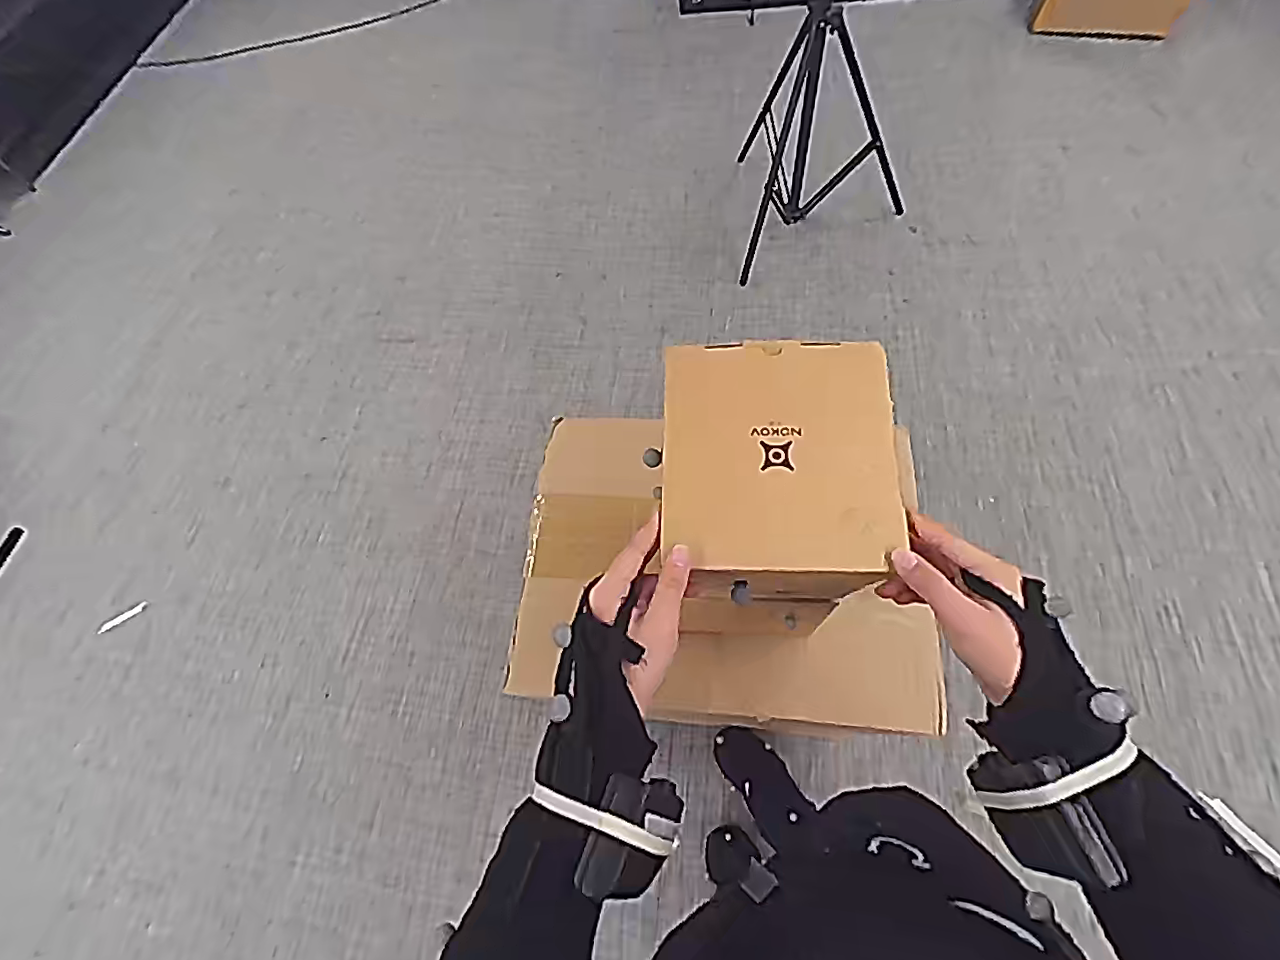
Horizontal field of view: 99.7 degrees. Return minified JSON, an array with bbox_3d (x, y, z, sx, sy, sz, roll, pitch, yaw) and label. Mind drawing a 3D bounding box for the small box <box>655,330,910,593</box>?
[{"bbox_3d":[0.103,-0.002,0.452,0.168,0.176,0.179,0,71,6],"label":"small box"}]
